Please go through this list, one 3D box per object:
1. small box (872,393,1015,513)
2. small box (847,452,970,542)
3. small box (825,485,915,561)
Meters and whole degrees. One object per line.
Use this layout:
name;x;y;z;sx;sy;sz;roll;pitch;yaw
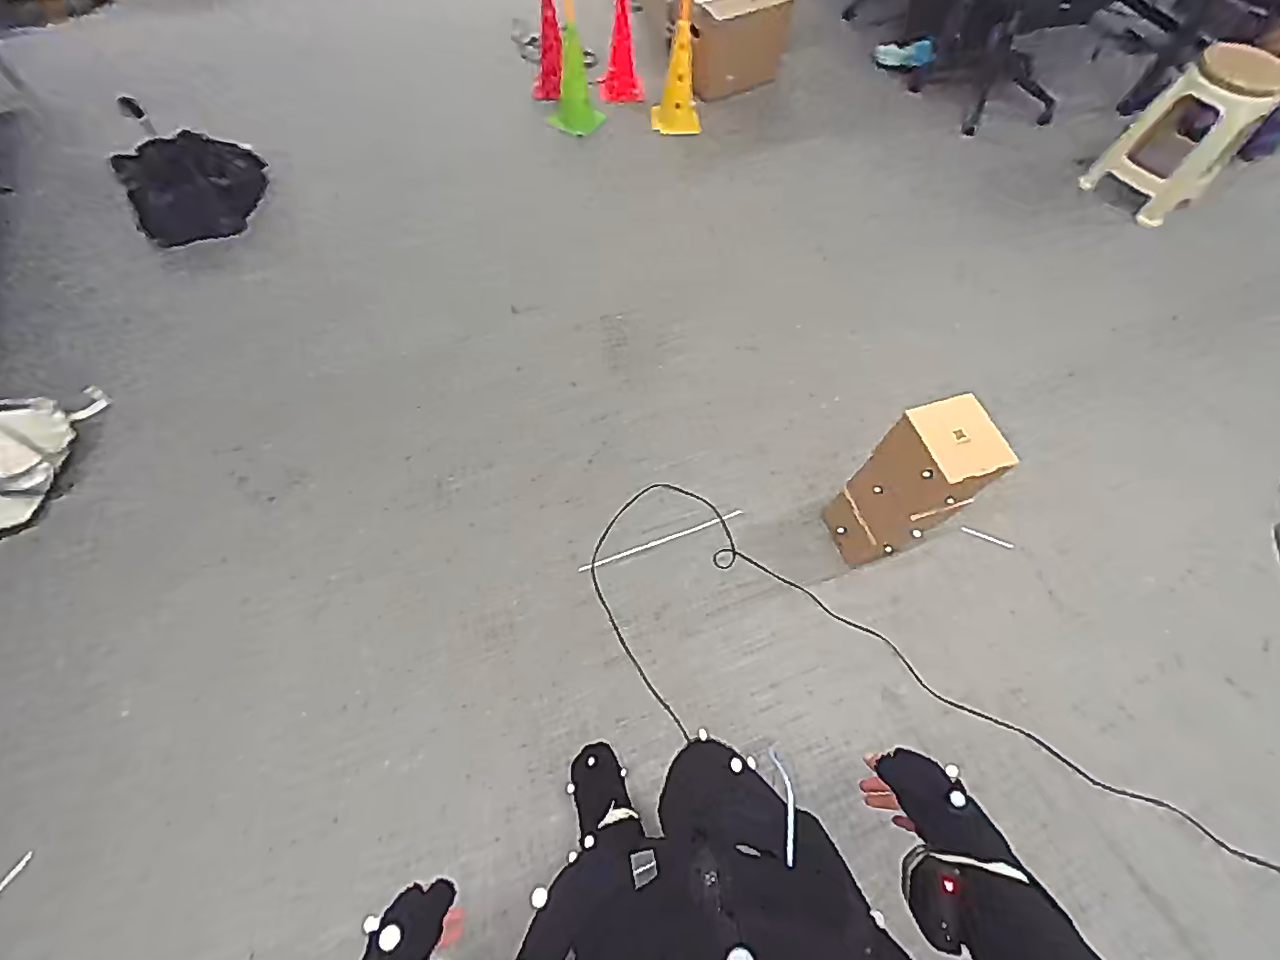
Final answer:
small box;0.632;-0.054;1.154;0.168;0.176;0.179;-16;66;-10
small box;0.630;0.026;1.296;0.168;0.176;0.179;-15;66;-10
small box;0.618;0.100;1.442;0.179;0.176;0.168;-16;66;-10
